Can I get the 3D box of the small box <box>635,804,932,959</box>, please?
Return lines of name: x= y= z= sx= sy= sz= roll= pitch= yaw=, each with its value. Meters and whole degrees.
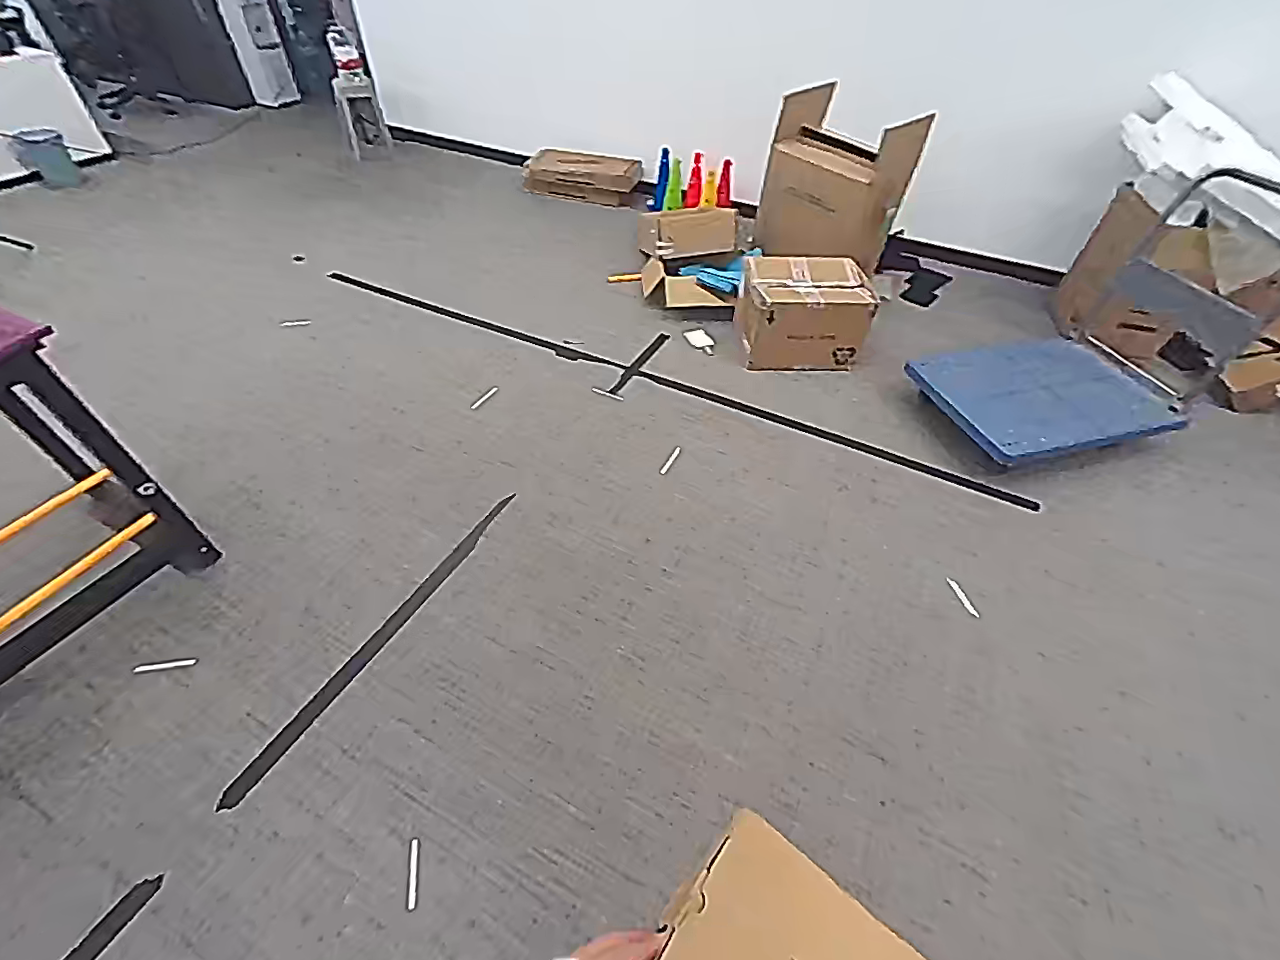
small box: x=0.080 y=0.384 z=0.374 sx=0.179 sy=0.176 sz=0.168 roll=31 pitch=35 yaw=23
